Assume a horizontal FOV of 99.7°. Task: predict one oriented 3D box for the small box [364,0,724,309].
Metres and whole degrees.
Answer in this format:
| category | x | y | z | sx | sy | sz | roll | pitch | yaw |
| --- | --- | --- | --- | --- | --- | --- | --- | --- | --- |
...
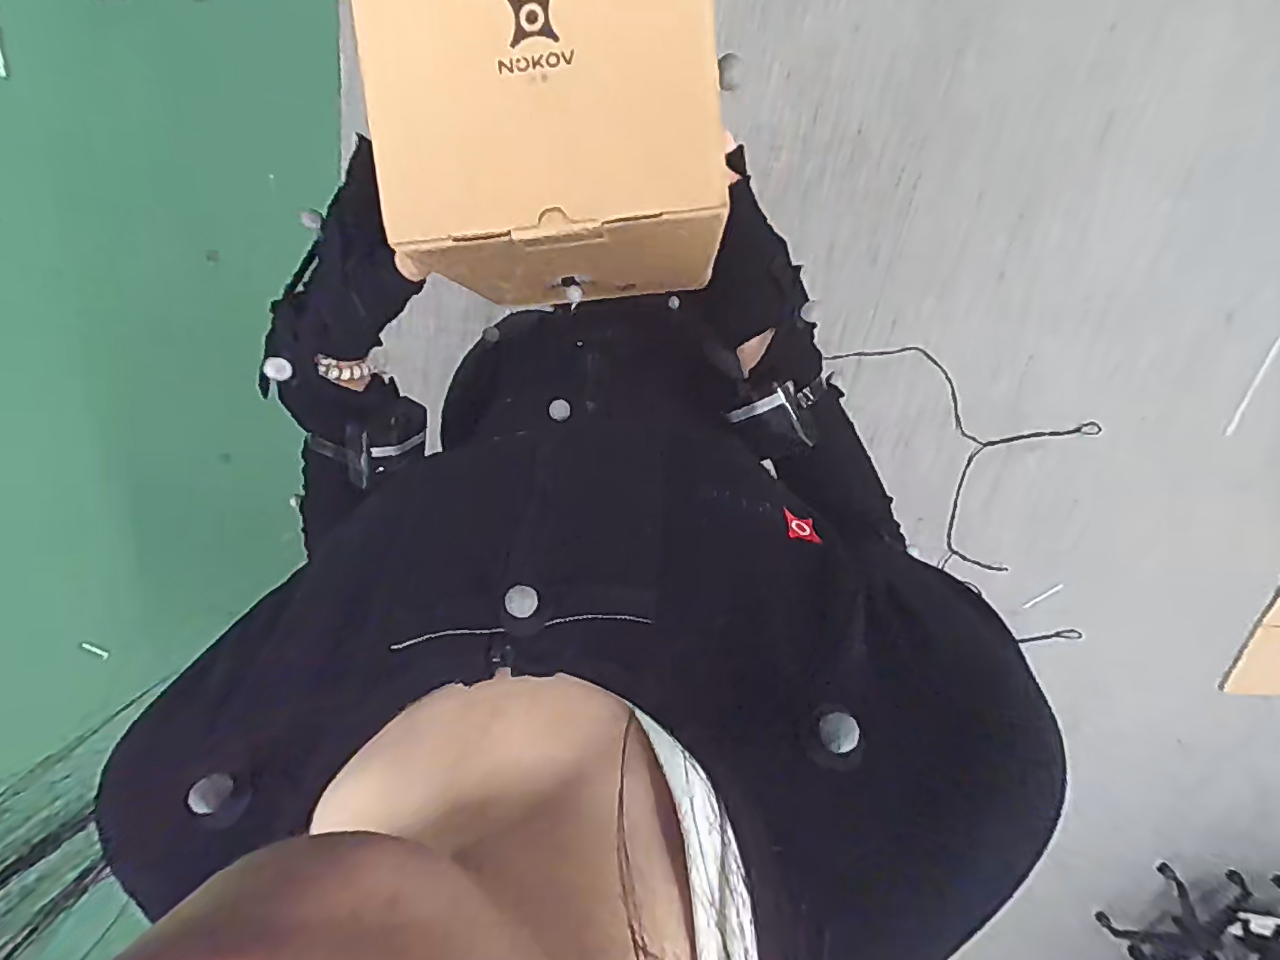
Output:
| category | x | y | z | sx | sy | sz | roll | pitch | yaw |
| --- | --- | --- | --- | --- | --- | --- | --- | --- | --- |
| small box | -0.043 | -0.216 | 0.334 | 0.168 | 0.176 | 0.179 | -5 | 99 | 5 |
